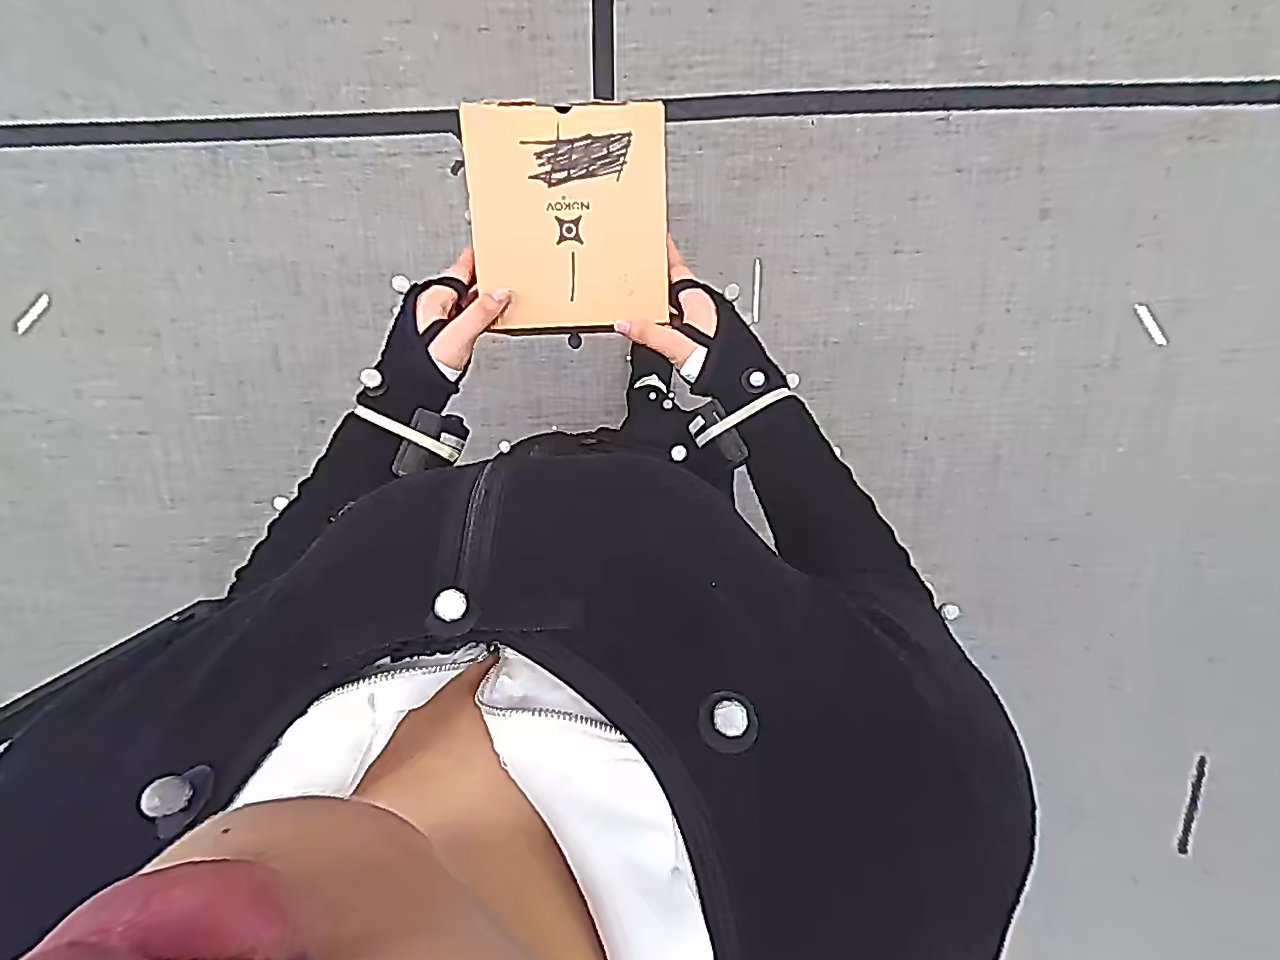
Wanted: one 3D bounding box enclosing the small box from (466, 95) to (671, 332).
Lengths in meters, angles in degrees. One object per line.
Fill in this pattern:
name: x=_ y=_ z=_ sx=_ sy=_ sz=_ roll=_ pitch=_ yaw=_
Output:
small box: x=-0.064 y=-0.241 z=0.530 sx=0.168 sy=0.176 sz=0.179 roll=-3 pitch=104 yaw=-4
